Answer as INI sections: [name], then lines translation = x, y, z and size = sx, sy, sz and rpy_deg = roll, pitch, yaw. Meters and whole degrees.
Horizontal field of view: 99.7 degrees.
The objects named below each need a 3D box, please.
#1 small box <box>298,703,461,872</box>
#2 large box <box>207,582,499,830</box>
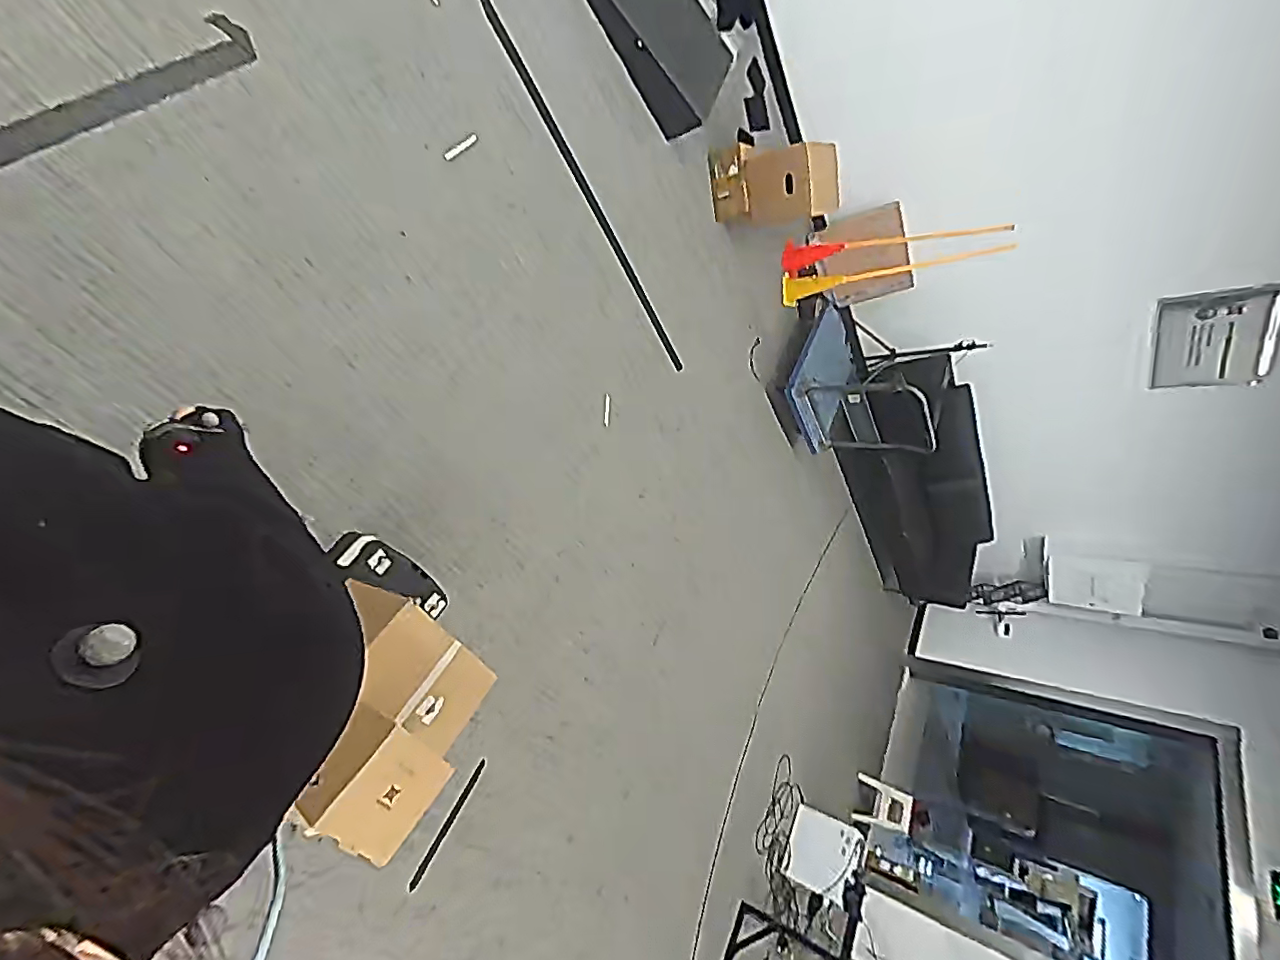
[small box]
translation = -0.461, 0.528, 0.949
size = 0.179, 0.176, 0.168
rpy_deg = -53, 128, -35
[large box]
translation = -0.598, 0.486, 1.165
size = 0.408, 0.320, 0.320
rpy_deg = -57, 131, -33
